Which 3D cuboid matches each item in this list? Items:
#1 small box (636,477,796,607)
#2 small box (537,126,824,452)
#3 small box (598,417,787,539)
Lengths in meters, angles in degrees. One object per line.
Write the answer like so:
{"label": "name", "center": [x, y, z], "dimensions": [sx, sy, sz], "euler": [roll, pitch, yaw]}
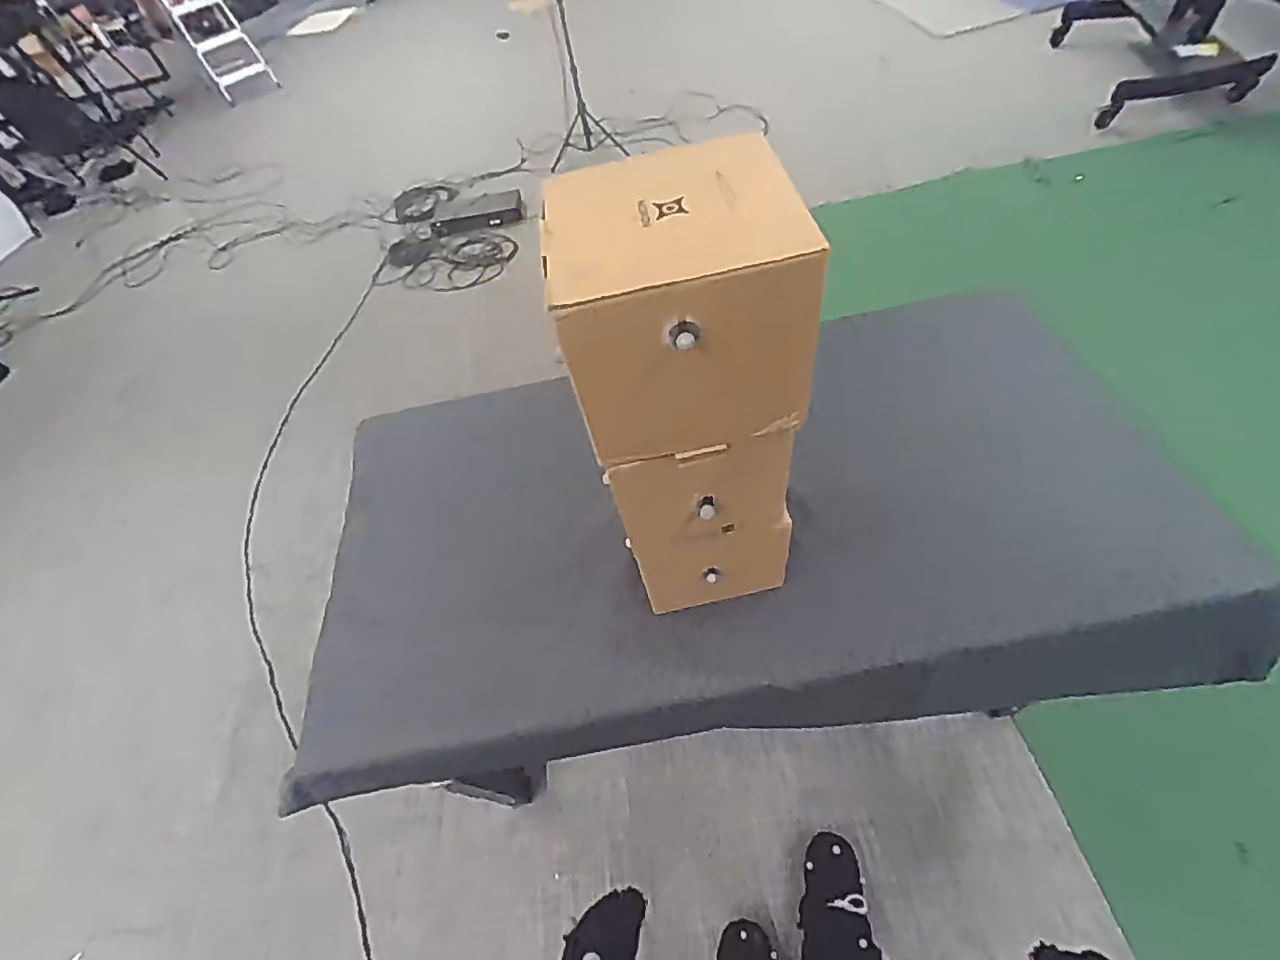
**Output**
{"label": "small box", "center": [0.079, 0.042, 0.696], "dimensions": [0.179, 0.176, 0.168], "euler": [-15, 55, -2]}
{"label": "small box", "center": [0.027, -0.141, 0.431], "dimensions": [0.179, 0.176, 0.168], "euler": [-10, 56, 2]}
{"label": "small box", "center": [0.046, -0.053, 0.567], "dimensions": [0.168, 0.176, 0.179], "euler": [-13, 55, 1]}
